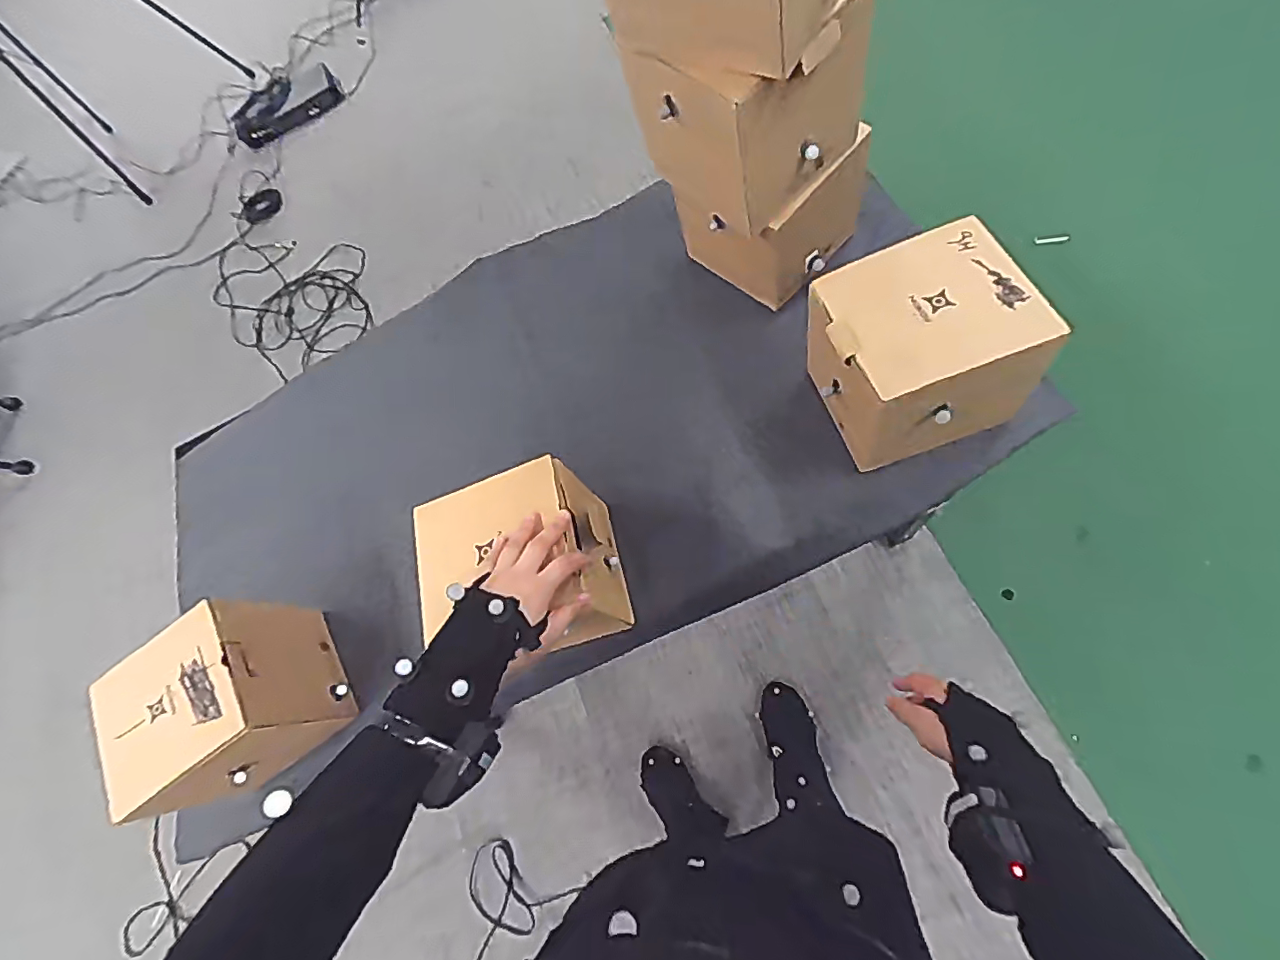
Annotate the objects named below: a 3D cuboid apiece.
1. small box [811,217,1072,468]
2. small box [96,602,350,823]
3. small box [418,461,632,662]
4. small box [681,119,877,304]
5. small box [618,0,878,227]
[{"bbox_3d":[0.302,-0.135,0.589,0.179,0.176,0.168,-21,64,8],"label":"small box"},{"bbox_3d":[-0.494,0.271,0.665,0.179,0.176,0.168,-36,68,1],"label":"small box"},{"bbox_3d":[-0.127,0.106,0.627,0.179,0.176,0.168,-19,66,7],"label":"small box"},{"bbox_3d":[0.171,-0.365,0.705,0.179,0.176,0.168,42,89,21],"label":"small box"},{"bbox_3d":[0.110,-0.403,0.555,0.168,0.176,0.179,-44,67,1],"label":"small box"}]
